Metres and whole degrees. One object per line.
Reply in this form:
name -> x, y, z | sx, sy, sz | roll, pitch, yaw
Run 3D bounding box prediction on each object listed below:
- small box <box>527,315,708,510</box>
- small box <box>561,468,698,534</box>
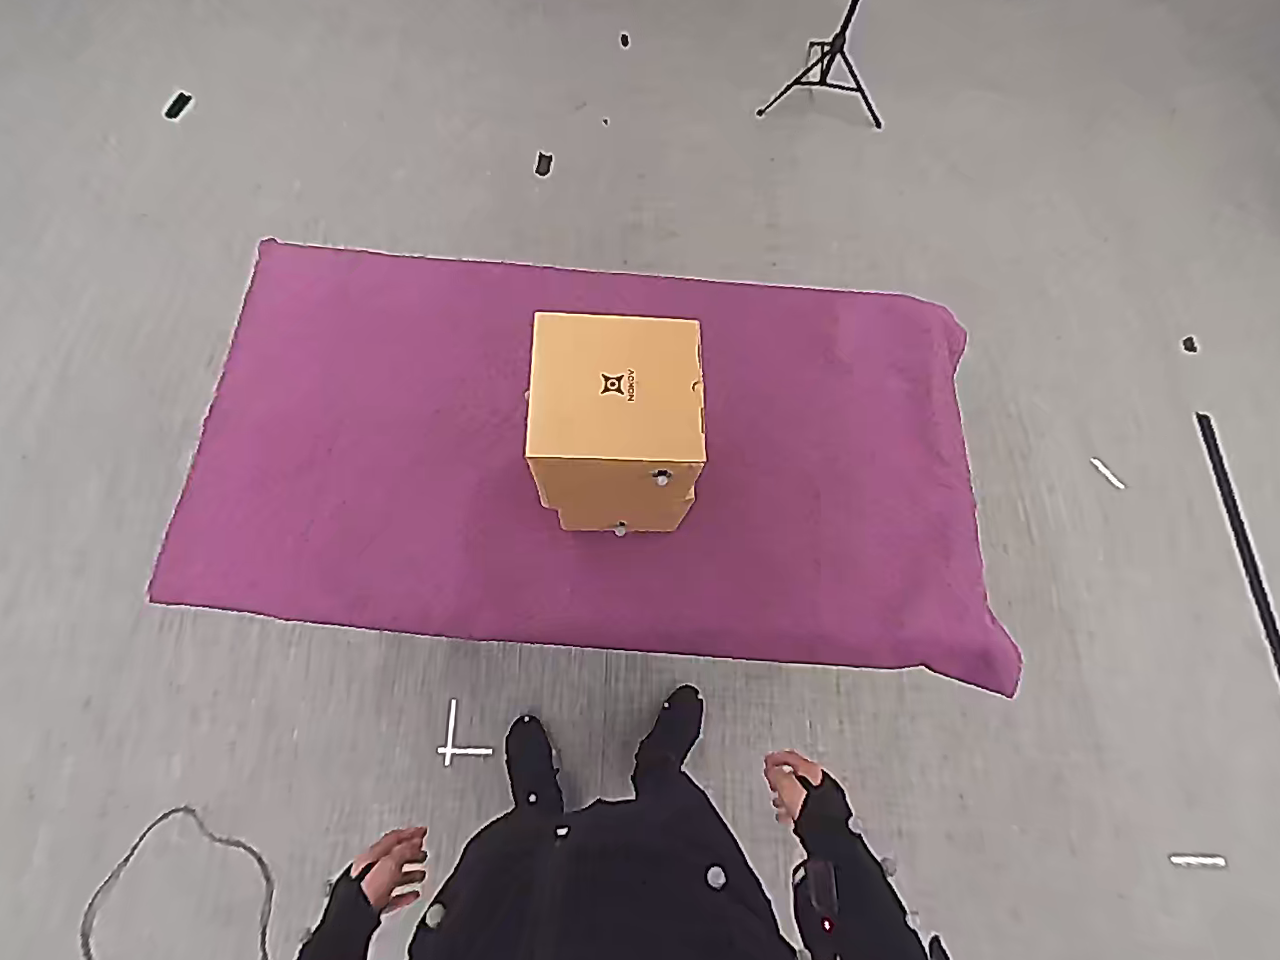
small box -> -0.026, -0.066, 0.617 | 0.179, 0.176, 0.168 | 1, 71, -5
small box -> -0.022, -0.022, 0.775 | 0.179, 0.176, 0.168 | 1, 70, -6
